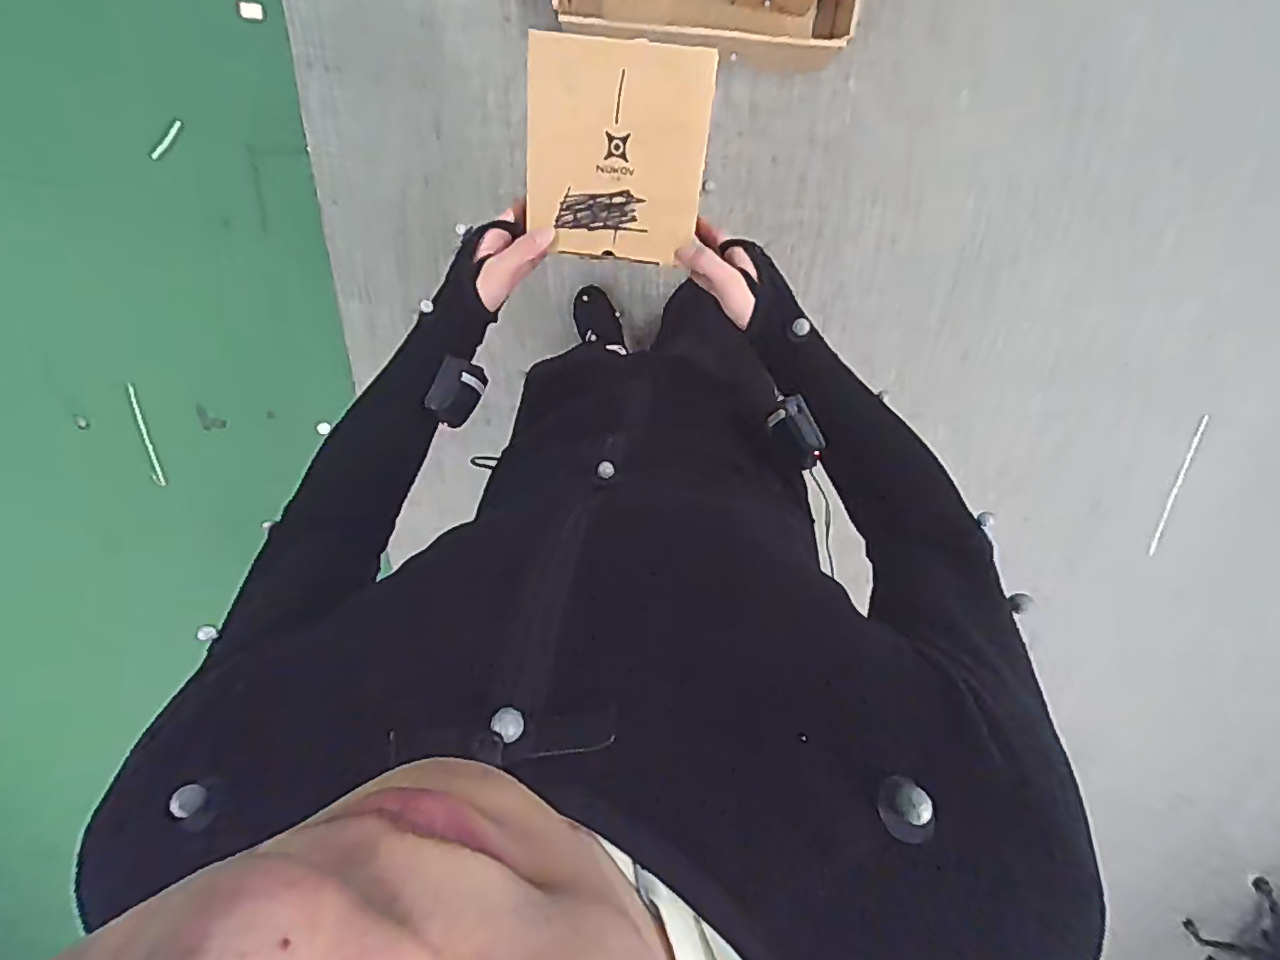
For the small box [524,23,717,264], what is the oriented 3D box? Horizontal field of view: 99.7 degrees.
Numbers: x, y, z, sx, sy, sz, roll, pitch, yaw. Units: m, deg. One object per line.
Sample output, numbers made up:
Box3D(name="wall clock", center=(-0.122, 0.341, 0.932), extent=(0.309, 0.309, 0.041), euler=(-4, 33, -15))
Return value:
Box3D(name="small box", center=(-0.016, -0.332, 0.563), extent=(0.168, 0.176, 0.179), euler=(8, 116, 2))
